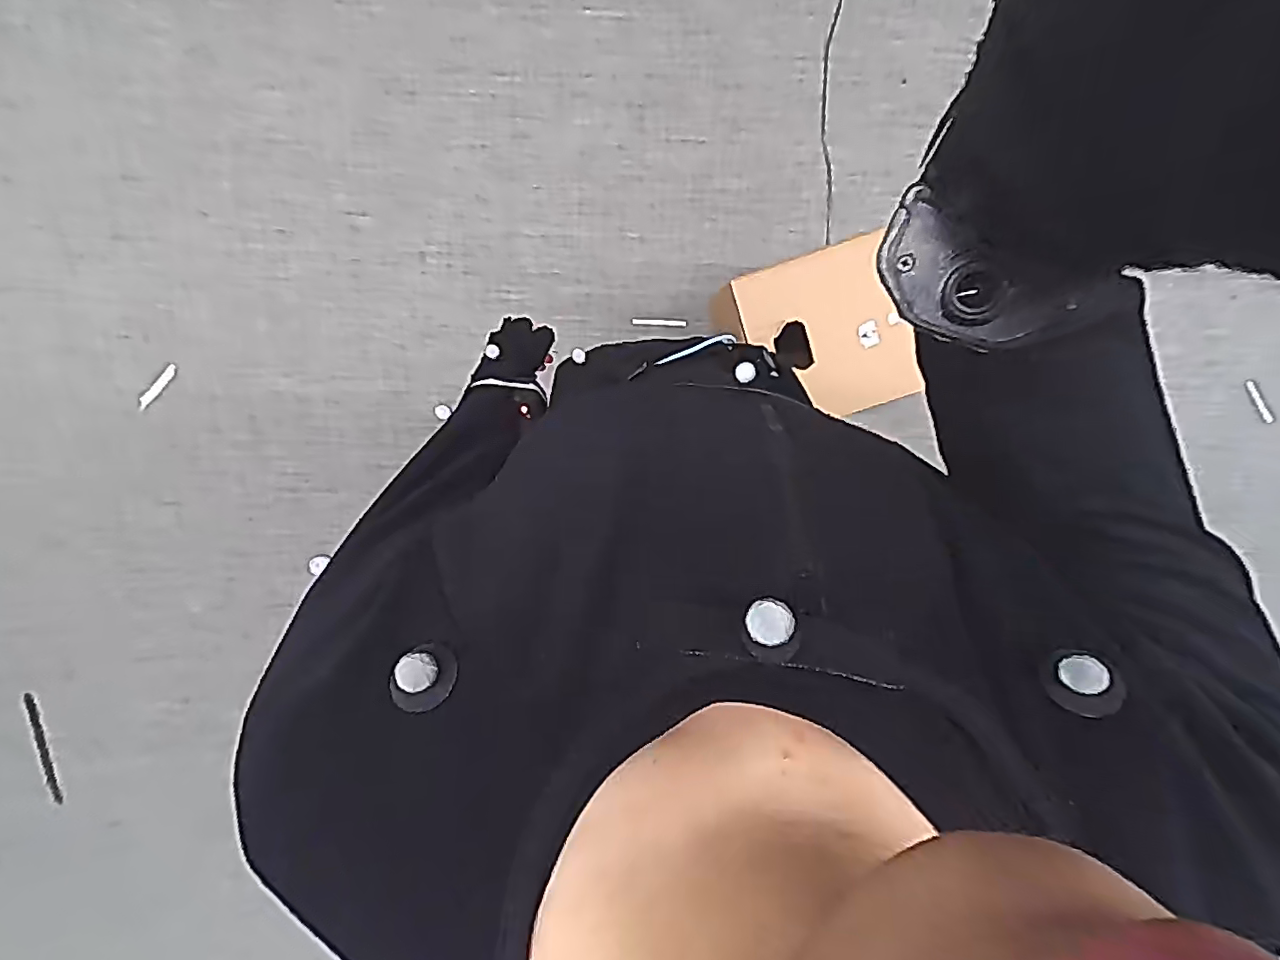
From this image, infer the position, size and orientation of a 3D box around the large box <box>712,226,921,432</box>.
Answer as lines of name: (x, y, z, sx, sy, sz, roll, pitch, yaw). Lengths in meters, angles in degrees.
large box: (0.367, -0.322, 1.218, 0.320, 0.408, 0.320, -17, 101, 7)
